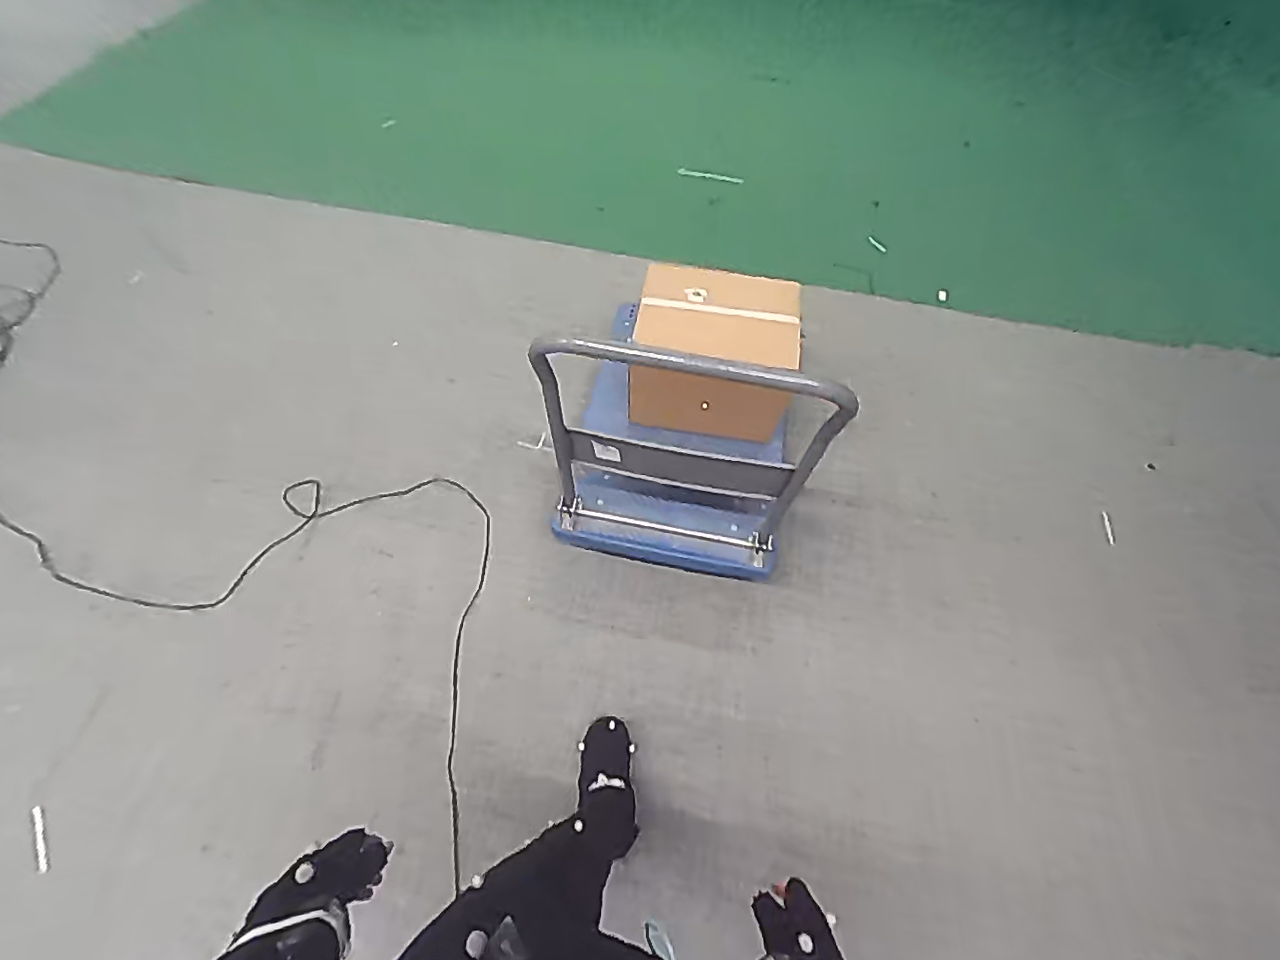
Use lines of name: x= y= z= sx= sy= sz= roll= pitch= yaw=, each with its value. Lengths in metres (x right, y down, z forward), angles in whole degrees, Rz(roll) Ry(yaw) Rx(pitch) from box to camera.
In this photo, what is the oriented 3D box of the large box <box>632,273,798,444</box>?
large box: x=0.199 y=-0.327 z=1.494 sx=0.408 sy=0.320 sz=0.320 roll=8 pitch=58 yaw=4
